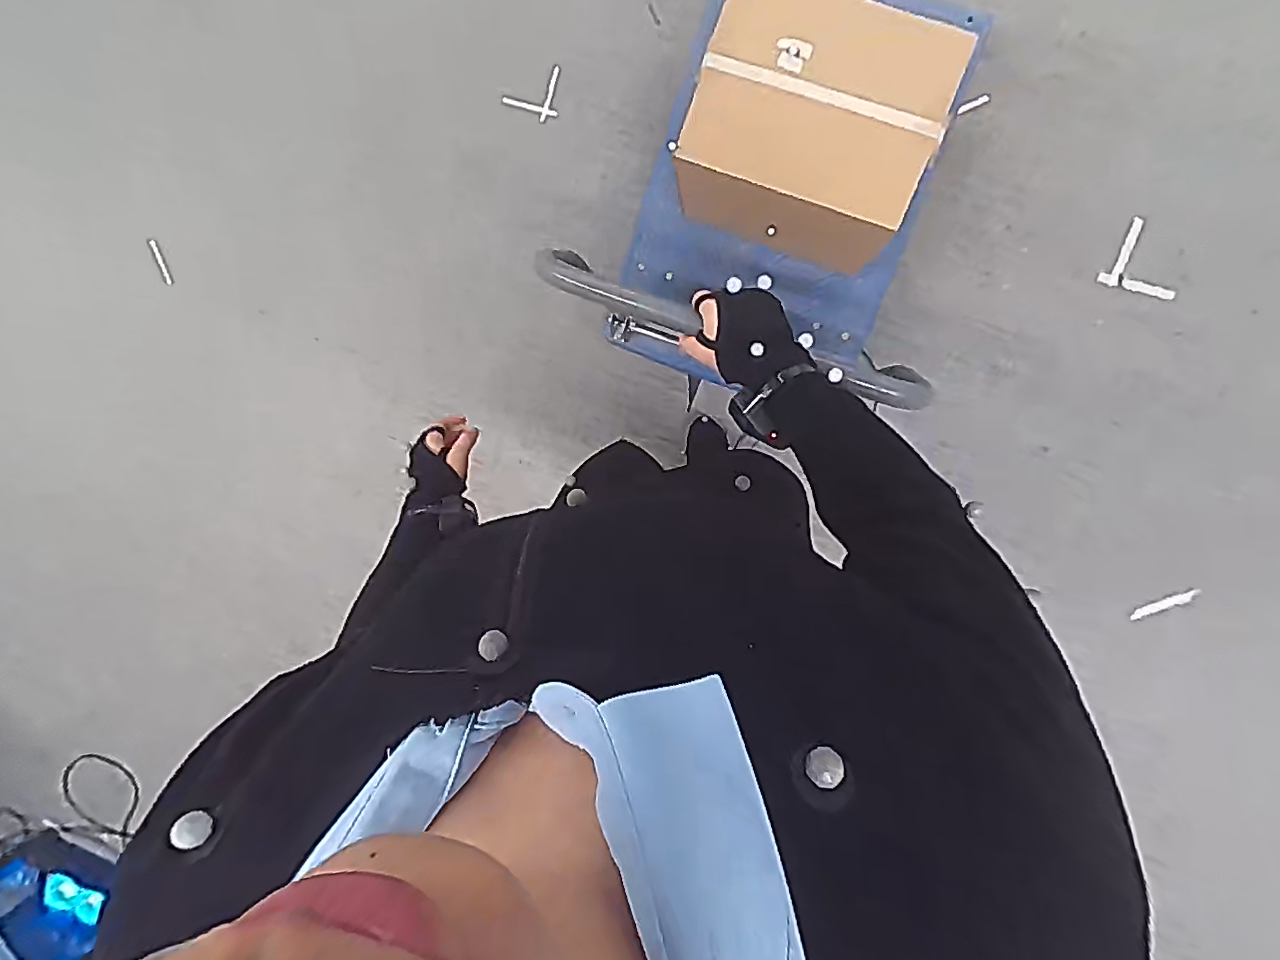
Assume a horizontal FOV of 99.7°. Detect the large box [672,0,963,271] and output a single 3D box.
[{"bbox_3d":[0.313,-0.651,1.057,0.408,0.320,0.320,21,98,6],"label":"large box"}]
